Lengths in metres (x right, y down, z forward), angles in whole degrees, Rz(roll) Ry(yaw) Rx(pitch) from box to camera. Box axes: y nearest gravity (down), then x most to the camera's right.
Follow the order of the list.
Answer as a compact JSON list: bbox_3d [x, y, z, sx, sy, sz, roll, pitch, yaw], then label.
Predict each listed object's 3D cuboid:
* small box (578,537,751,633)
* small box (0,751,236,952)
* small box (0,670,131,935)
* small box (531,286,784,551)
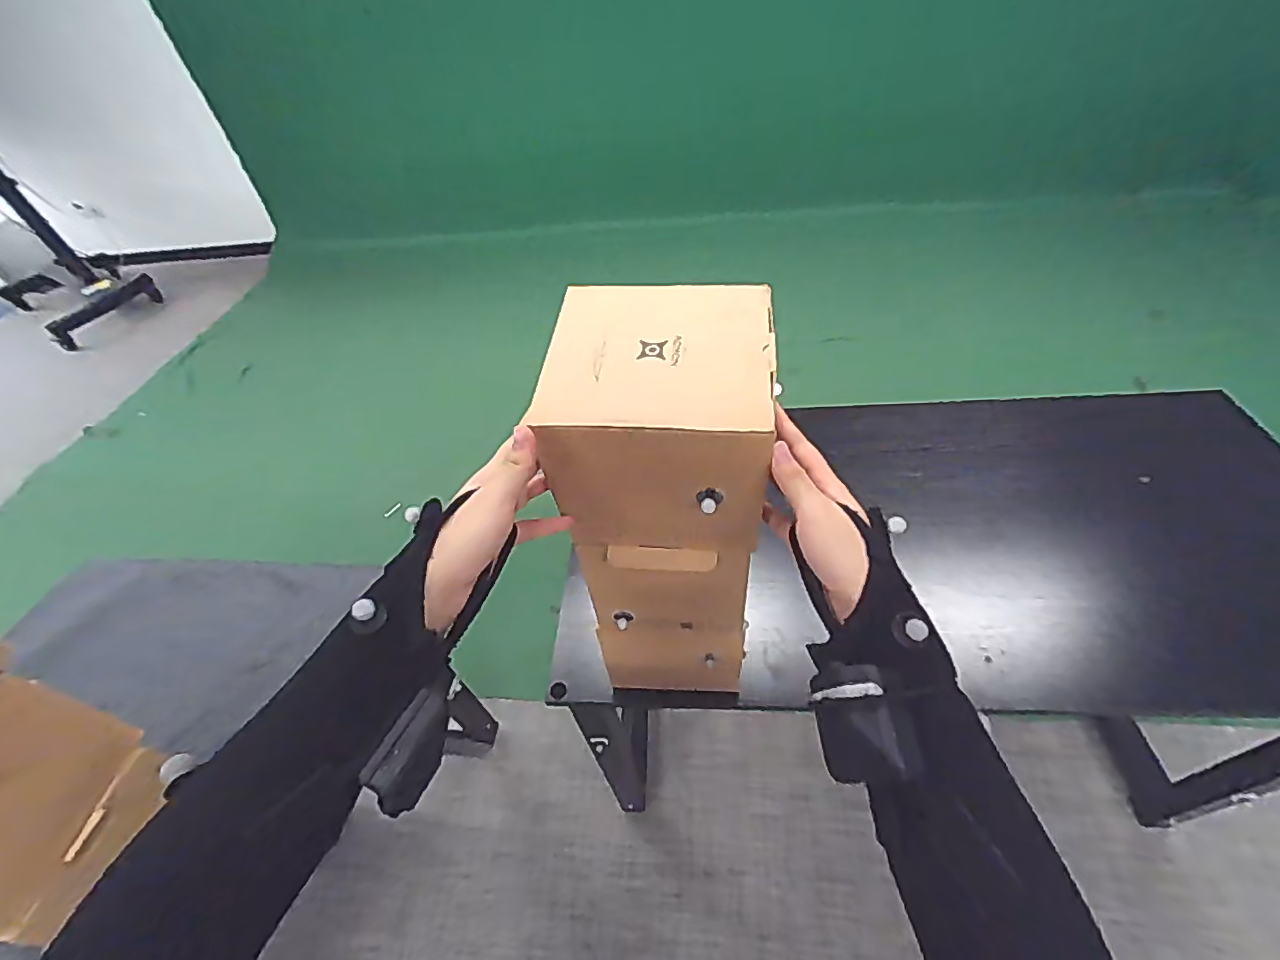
[{"bbox_3d":[0.038,0.055,0.611,0.168,0.176,0.179,2,47,8],"label":"small box"},{"bbox_3d":[-0.613,0.404,0.600,0.179,0.176,0.168,1,48,10],"label":"small box"},{"bbox_3d":[-0.632,0.287,0.489,0.168,0.176,0.179,-1,48,9],"label":"small box"},{"bbox_3d":[0.025,-0.048,0.476,0.179,0.176,0.168,1,54,8],"label":"small box"}]
